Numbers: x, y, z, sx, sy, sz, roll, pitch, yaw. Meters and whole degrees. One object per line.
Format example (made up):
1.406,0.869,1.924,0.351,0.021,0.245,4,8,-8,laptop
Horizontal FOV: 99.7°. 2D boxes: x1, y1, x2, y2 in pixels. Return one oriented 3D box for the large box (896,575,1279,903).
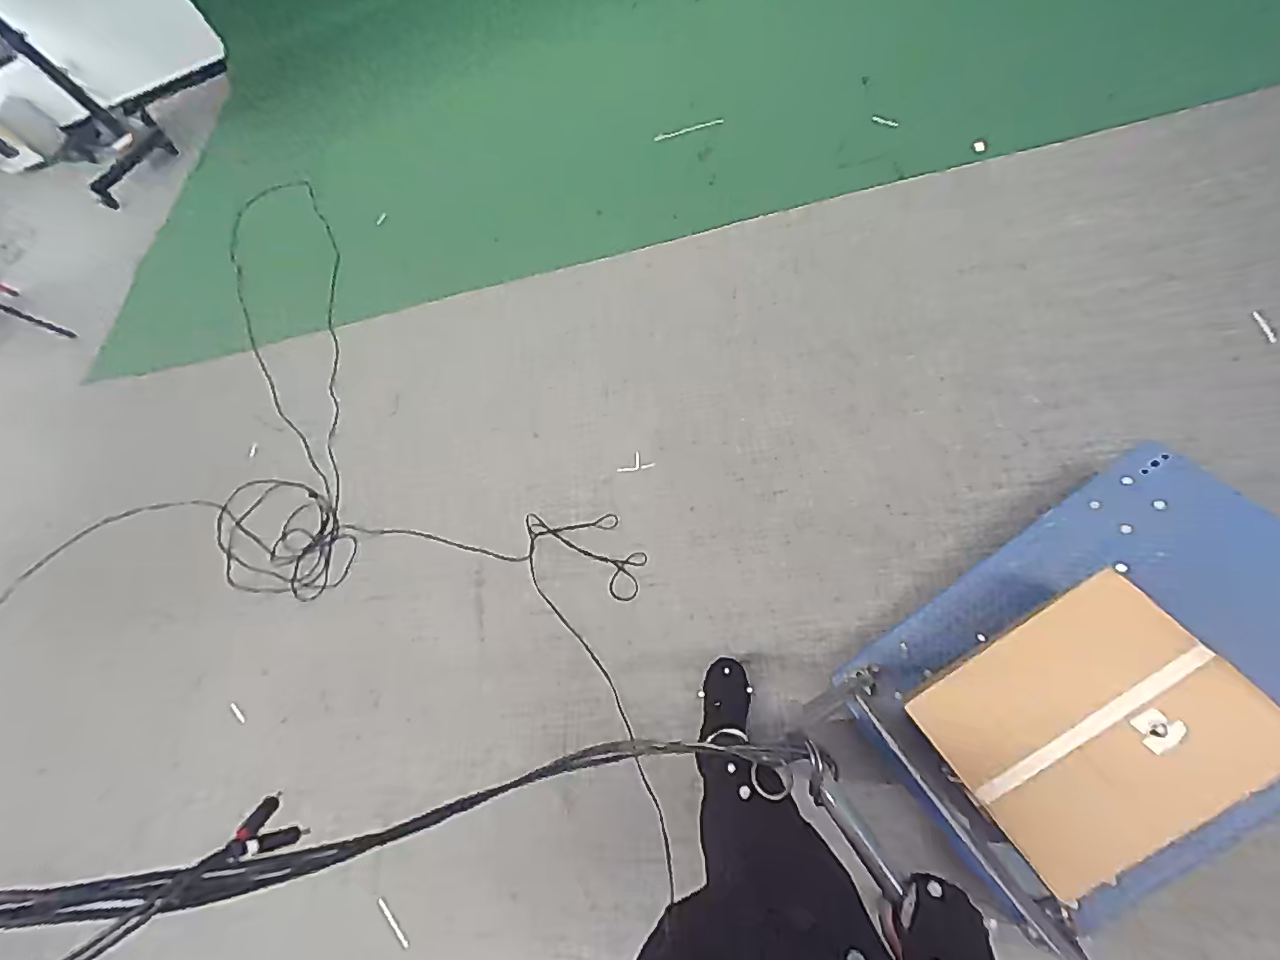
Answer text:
0.725,0.436,0.959,0.408,0.320,0.320,-37,60,6,large box
